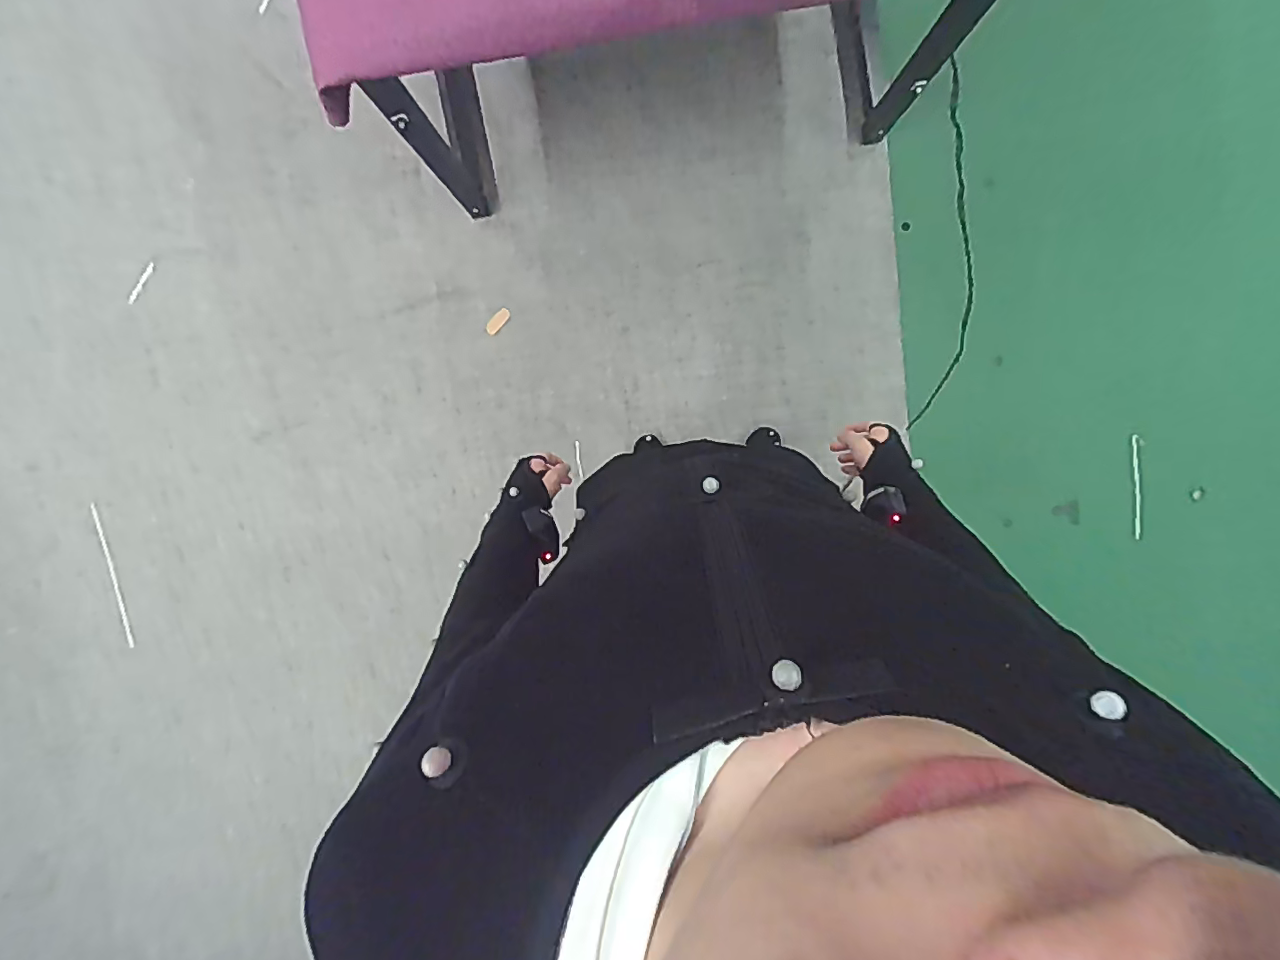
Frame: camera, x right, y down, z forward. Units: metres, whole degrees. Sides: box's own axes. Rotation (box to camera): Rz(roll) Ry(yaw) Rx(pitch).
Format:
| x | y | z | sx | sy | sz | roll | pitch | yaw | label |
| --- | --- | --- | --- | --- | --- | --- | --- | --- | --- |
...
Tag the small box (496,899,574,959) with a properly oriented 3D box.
| x | y | z | sx | sy | sz | roll | pitch | yaw | label |
| --- | --- | --- | --- | --- | --- | --- | --- | --- | --- |
| -0.260 | 1.206 | 1.370 | 0.168 | 0.176 | 0.179 | -2 | 95 | 1 | small box |
